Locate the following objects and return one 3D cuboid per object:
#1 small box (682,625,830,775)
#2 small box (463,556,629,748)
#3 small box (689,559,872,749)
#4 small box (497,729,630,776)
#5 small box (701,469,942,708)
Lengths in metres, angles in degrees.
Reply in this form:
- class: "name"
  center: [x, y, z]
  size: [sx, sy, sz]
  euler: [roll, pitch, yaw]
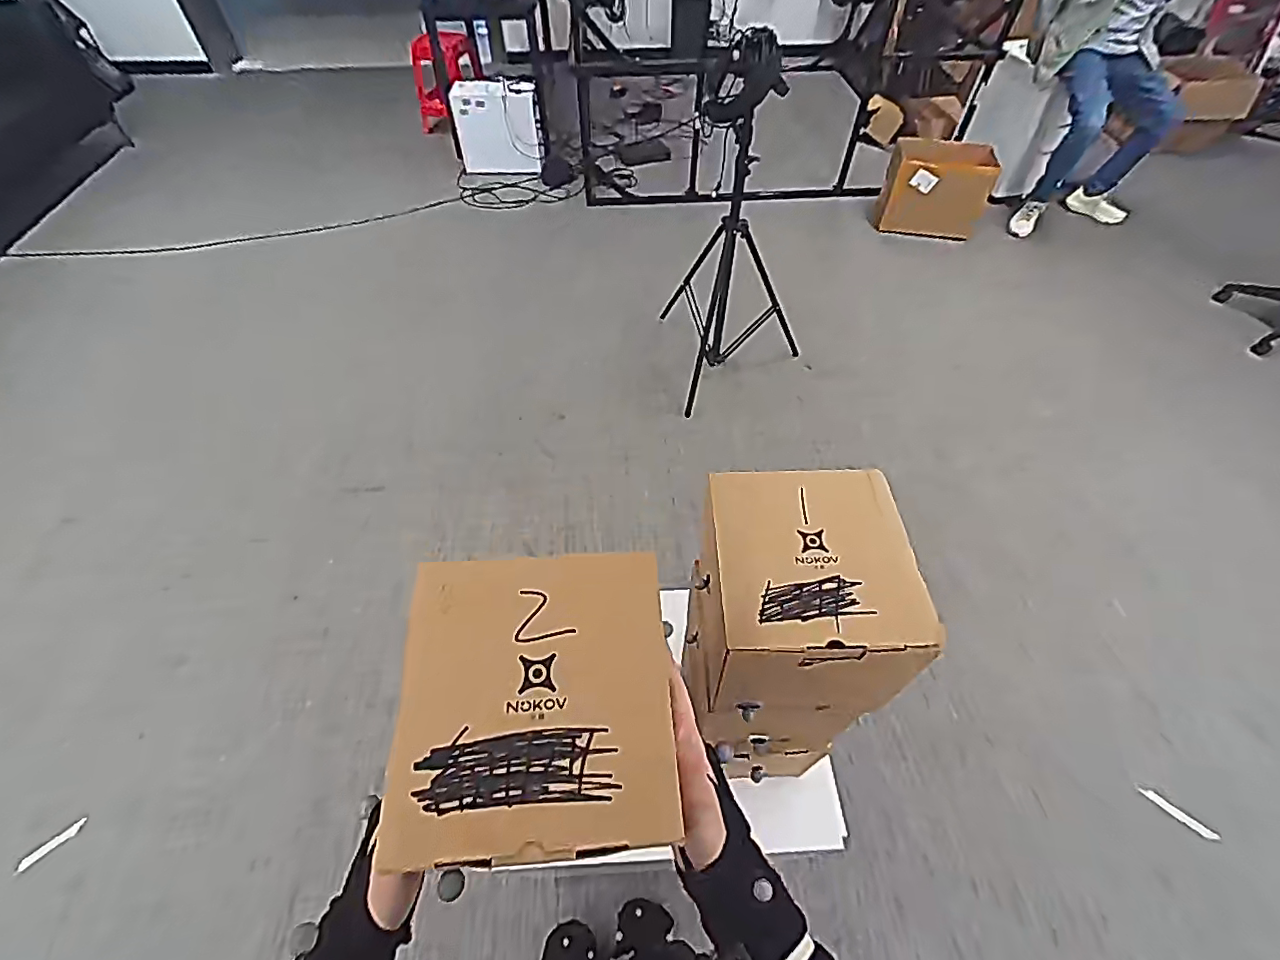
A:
- class: "small box"
  center: [0.152, 0.315, 0.773]
  size: [0.168, 0.176, 0.179]
  euler: [-2, 54, -1]
- class: "small box"
  center: [-0.100, 0.212, 0.649]
  size: [0.168, 0.176, 0.179]
  euler: [-3, 52, -3]
- class: "small box"
  center: [0.150, 0.208, 0.650]
  size: [0.168, 0.176, 0.179]
  euler: [-2, 53, 0]
- class: "small box"
  center: [-0.103, 0.309, 0.780]
  size: [0.168, 0.176, 0.179]
  euler: [-4, 53, -3]
- class: "small box"
  center: [0.149, 0.110, 0.519]
  size: [0.168, 0.176, 0.179]
  euler: [-1, 51, 1]
